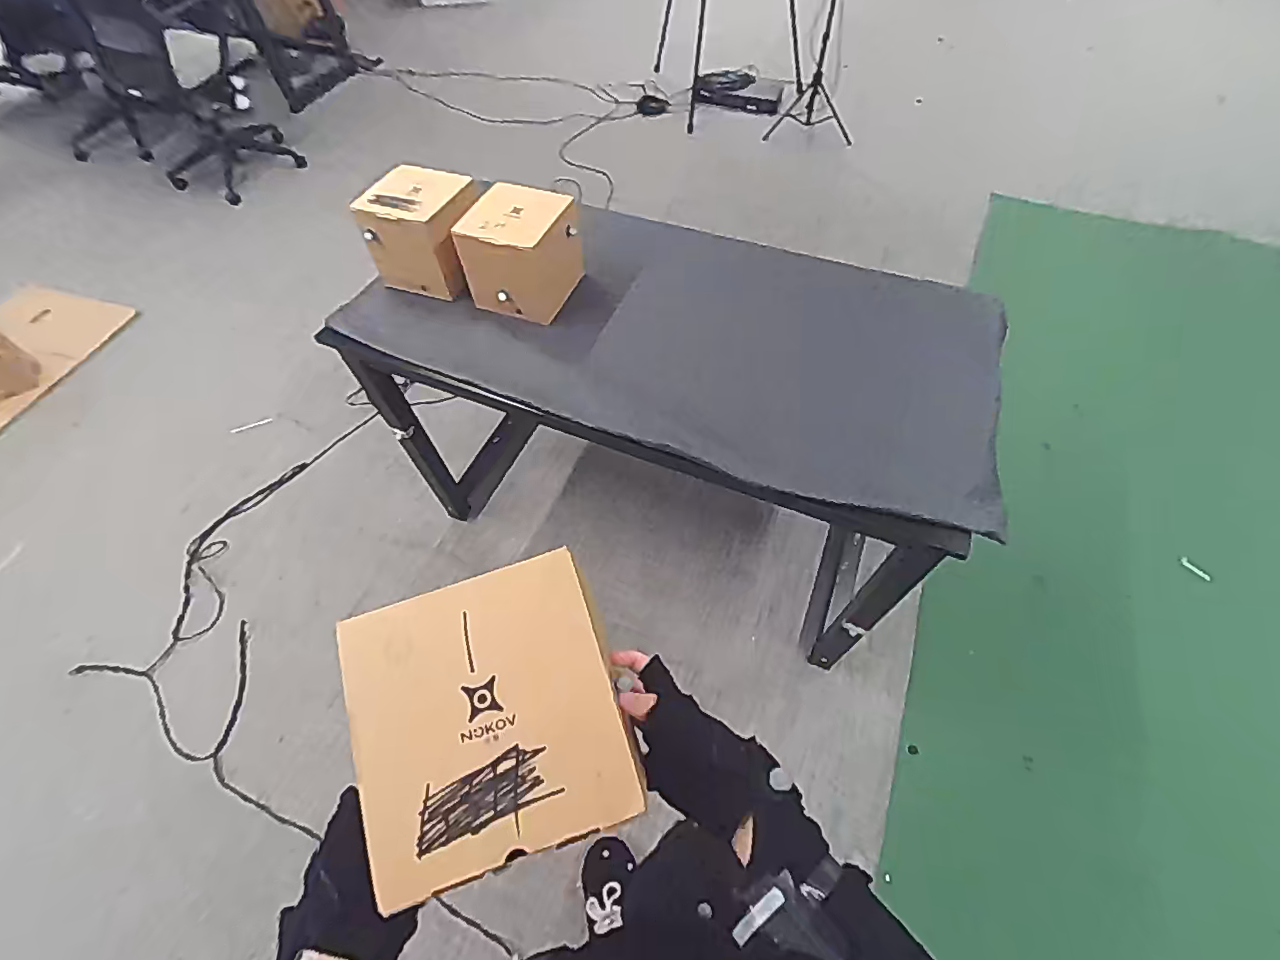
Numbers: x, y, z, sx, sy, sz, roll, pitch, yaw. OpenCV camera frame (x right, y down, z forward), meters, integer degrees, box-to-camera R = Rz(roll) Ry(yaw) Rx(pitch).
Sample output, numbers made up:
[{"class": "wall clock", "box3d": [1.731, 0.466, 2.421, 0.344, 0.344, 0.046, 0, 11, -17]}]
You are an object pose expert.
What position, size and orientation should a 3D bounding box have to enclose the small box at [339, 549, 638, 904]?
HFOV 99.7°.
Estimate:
[{"class": "small box", "box3d": [-0.101, 0.174, 0.423, 0.168, 0.176, 0.179, -17, 71, -6]}]
